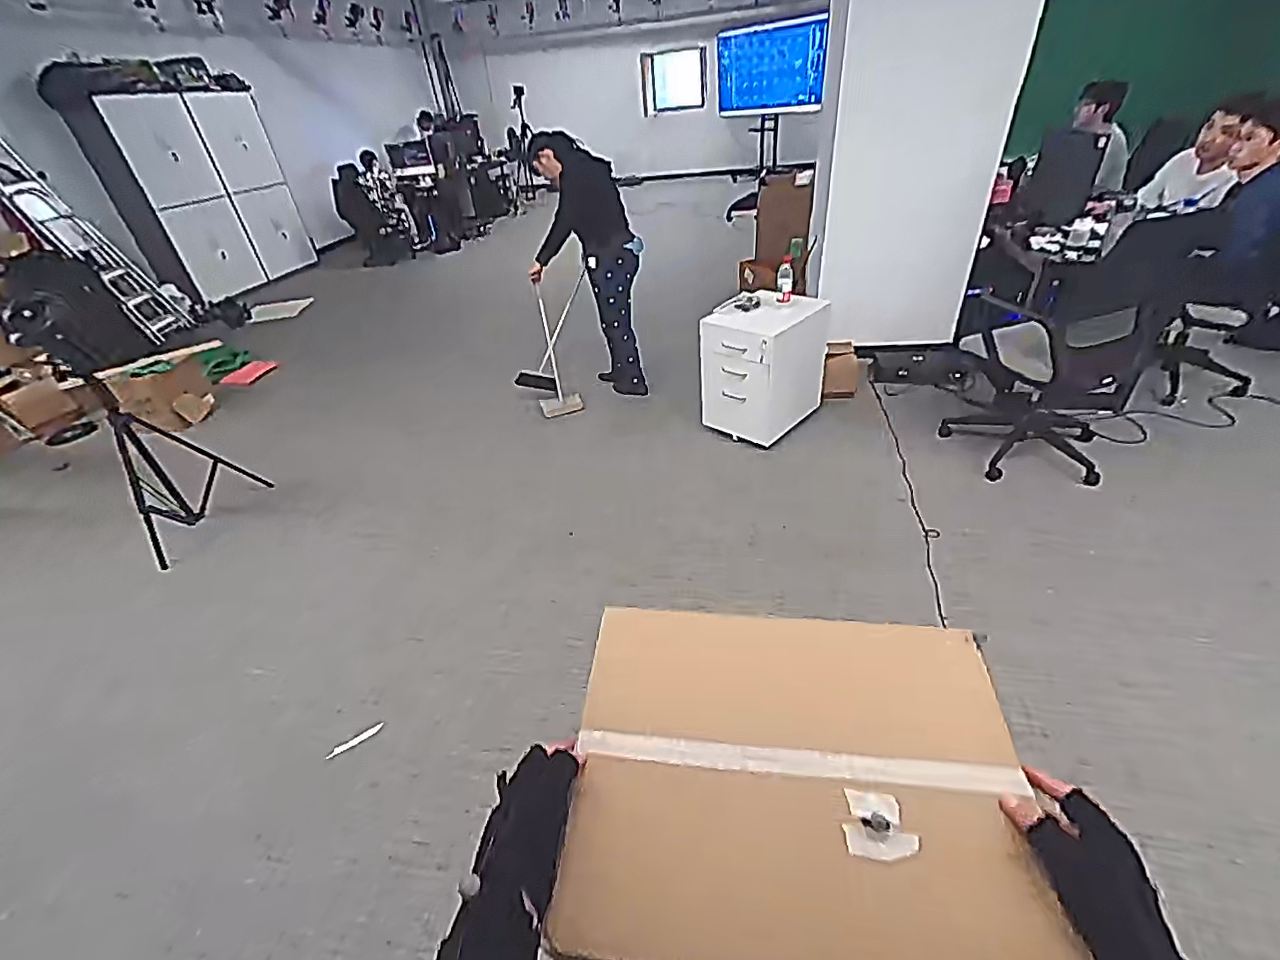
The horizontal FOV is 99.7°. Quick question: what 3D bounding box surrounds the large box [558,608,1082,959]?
[{"bbox_3d":[0.153,0.371,0.619,0.408,0.320,0.320,2,44,8],"label":"large box"}]
